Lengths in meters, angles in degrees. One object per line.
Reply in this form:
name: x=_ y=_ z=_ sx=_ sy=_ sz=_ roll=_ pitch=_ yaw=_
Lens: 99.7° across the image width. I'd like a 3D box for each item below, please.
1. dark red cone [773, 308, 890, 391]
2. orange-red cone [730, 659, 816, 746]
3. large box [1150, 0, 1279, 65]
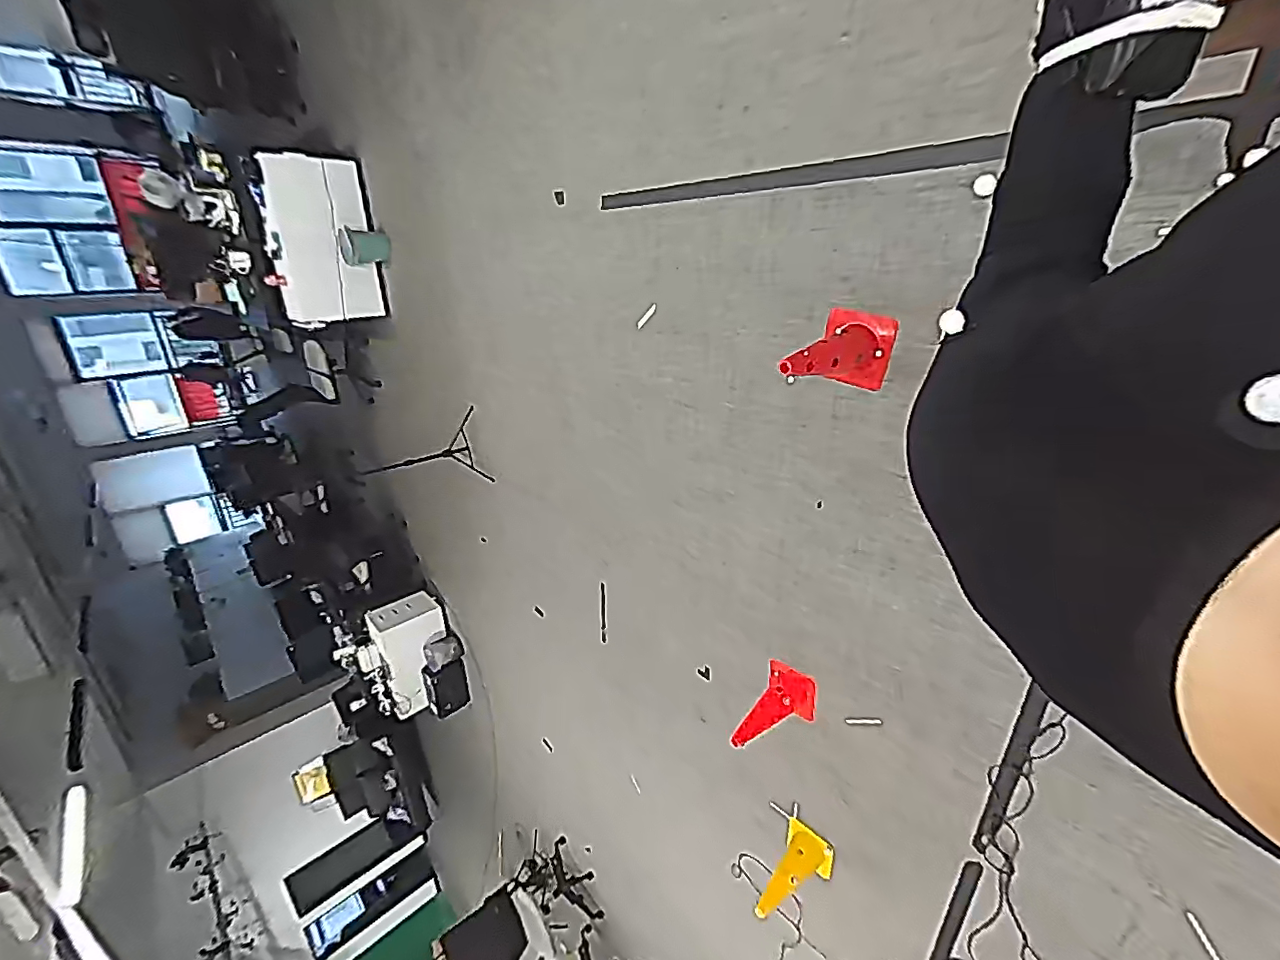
dark red cone: x=0.467 y=-0.320 z=1.401 sx=0.201 sy=0.394 sz=0.202 roll=27 pitch=126 yaw=39
orange-red cone: x=0.457 y=0.851 z=1.967 sx=0.198 sy=0.360 sz=0.199 roll=20 pitch=122 yaw=45
large box: x=0.555 y=-0.450 z=0.249 sx=0.408 sy=0.320 sz=0.320 roll=18 pitch=125 yaw=43
